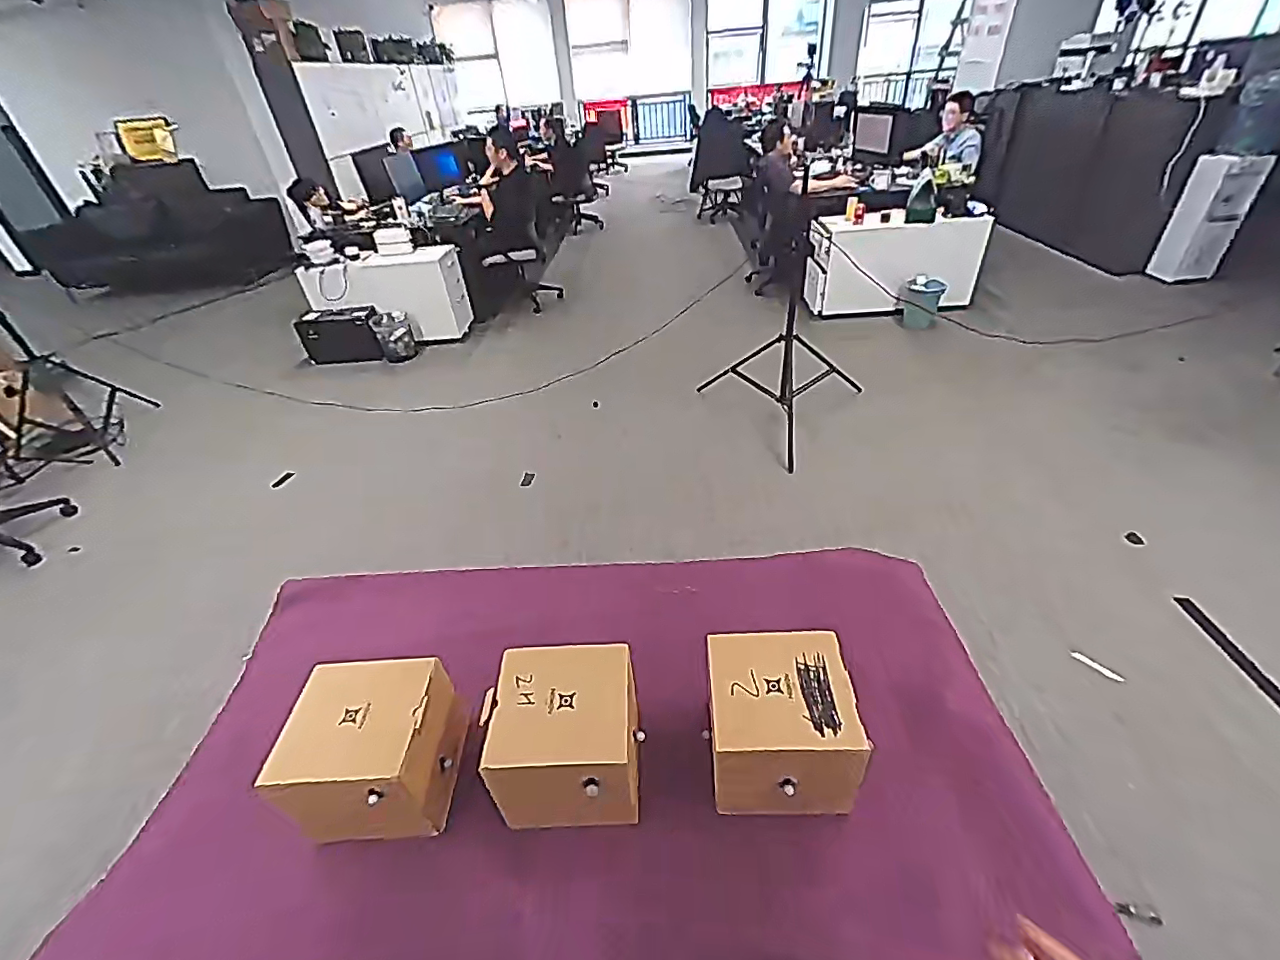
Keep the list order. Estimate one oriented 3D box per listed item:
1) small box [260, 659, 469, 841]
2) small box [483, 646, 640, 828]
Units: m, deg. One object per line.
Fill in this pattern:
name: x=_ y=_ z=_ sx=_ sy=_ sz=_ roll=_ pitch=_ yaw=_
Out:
small box: x=-0.356 y=0.370 z=0.740 sx=0.179 sy=0.176 sz=0.168 roll=-4 pitch=37 yaw=0
small box: x=-0.090 y=0.347 z=0.733 sx=0.179 sy=0.176 sz=0.168 roll=-4 pitch=36 yaw=2
